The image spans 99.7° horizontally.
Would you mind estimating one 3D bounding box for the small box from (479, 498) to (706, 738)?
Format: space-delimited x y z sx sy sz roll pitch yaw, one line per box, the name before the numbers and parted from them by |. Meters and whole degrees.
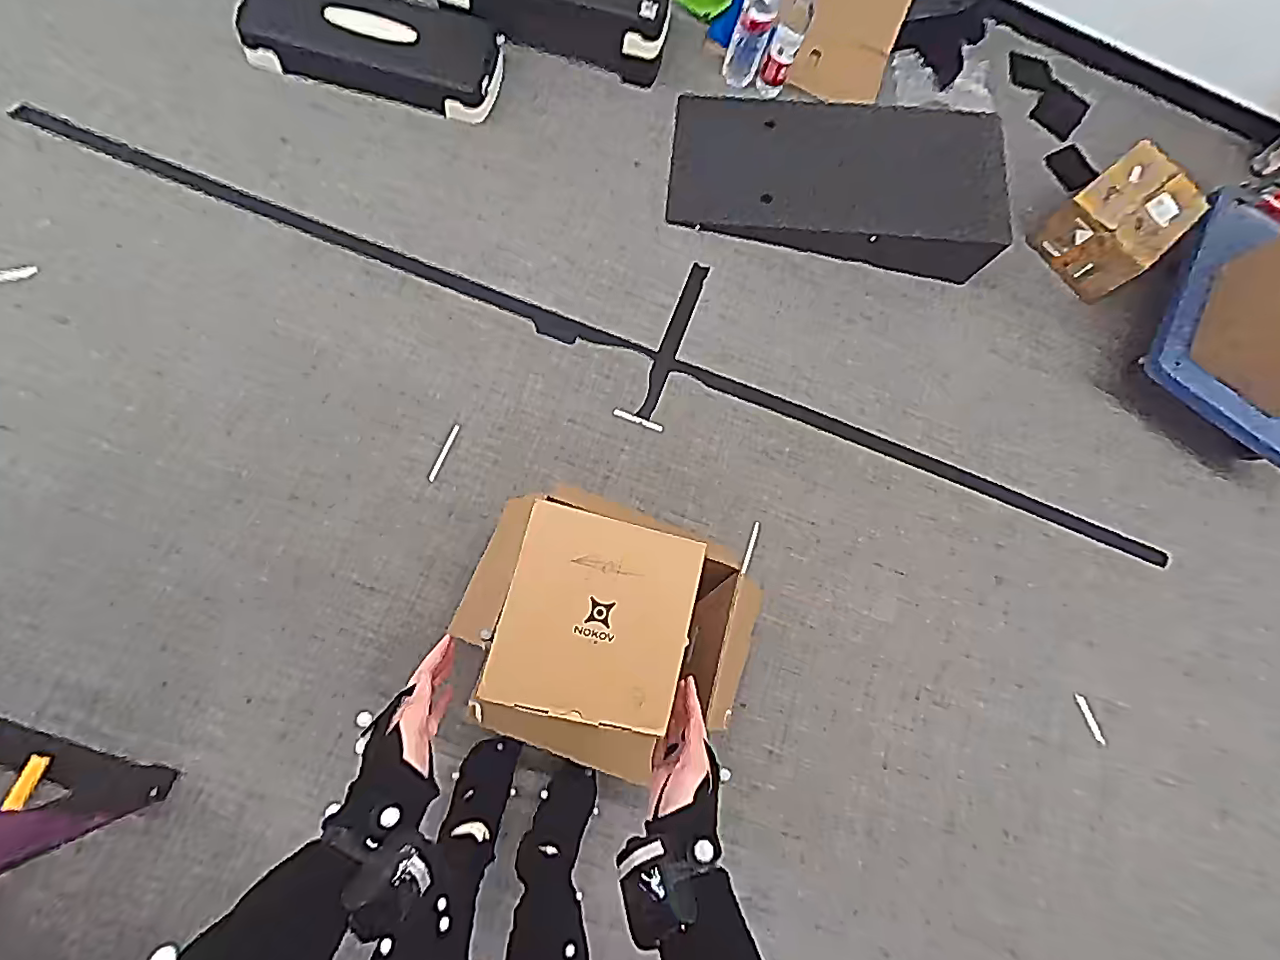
small box | -0.051 0.134 0.551 0.168 0.176 0.179 16 77 -9
